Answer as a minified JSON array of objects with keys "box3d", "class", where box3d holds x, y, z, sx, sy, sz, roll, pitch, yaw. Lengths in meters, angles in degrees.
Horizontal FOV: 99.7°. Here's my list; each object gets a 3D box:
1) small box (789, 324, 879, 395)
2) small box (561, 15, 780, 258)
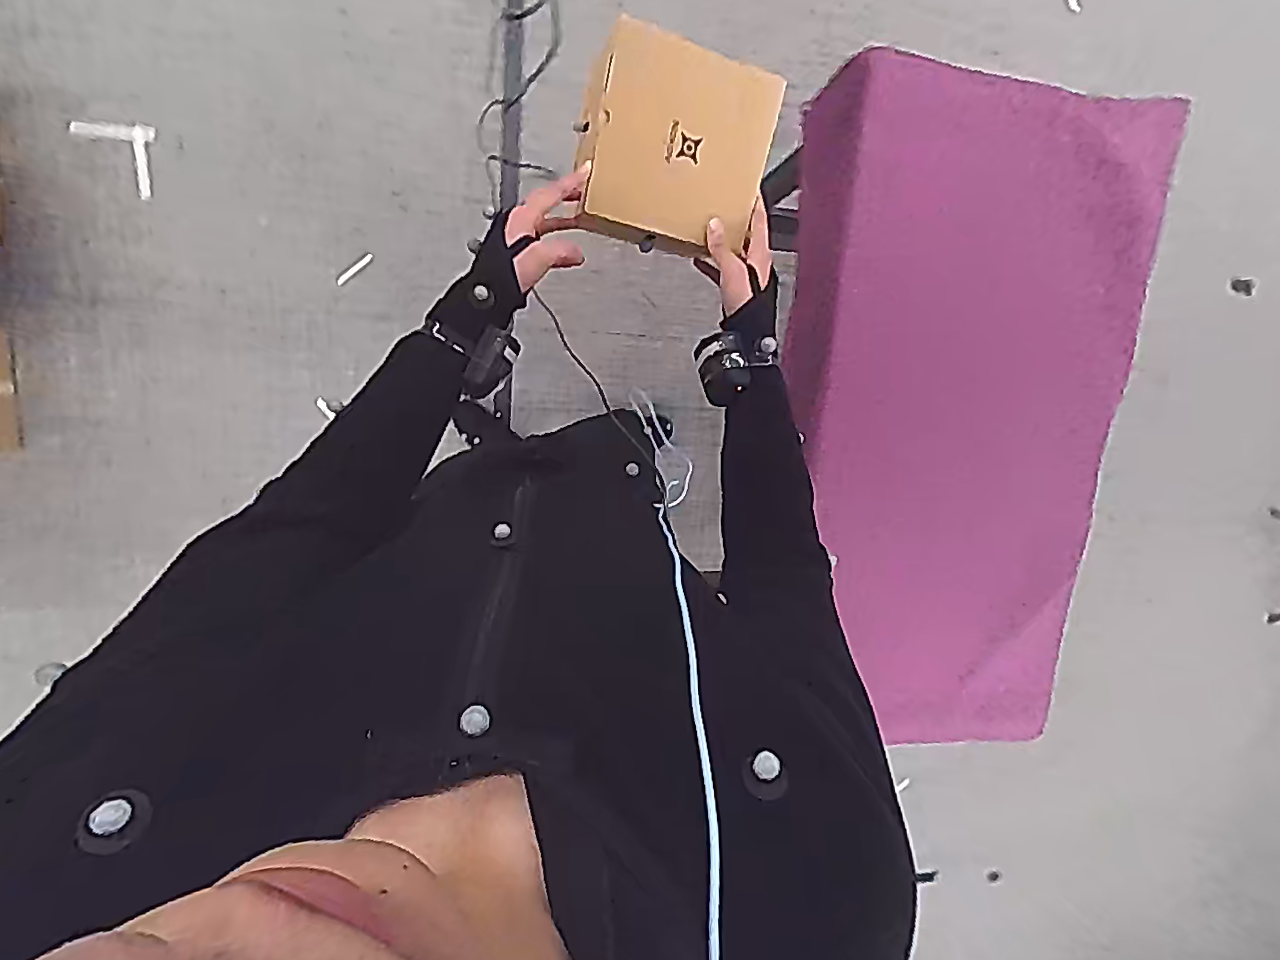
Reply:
[{"box3d":[0.526,-0.330,1.489,0.168,0.176,0.179,0,103,-11],"class":"small box"},{"box3d":[0.018,-0.351,0.592,0.179,0.176,0.168,8,109,-16],"class":"small box"}]
